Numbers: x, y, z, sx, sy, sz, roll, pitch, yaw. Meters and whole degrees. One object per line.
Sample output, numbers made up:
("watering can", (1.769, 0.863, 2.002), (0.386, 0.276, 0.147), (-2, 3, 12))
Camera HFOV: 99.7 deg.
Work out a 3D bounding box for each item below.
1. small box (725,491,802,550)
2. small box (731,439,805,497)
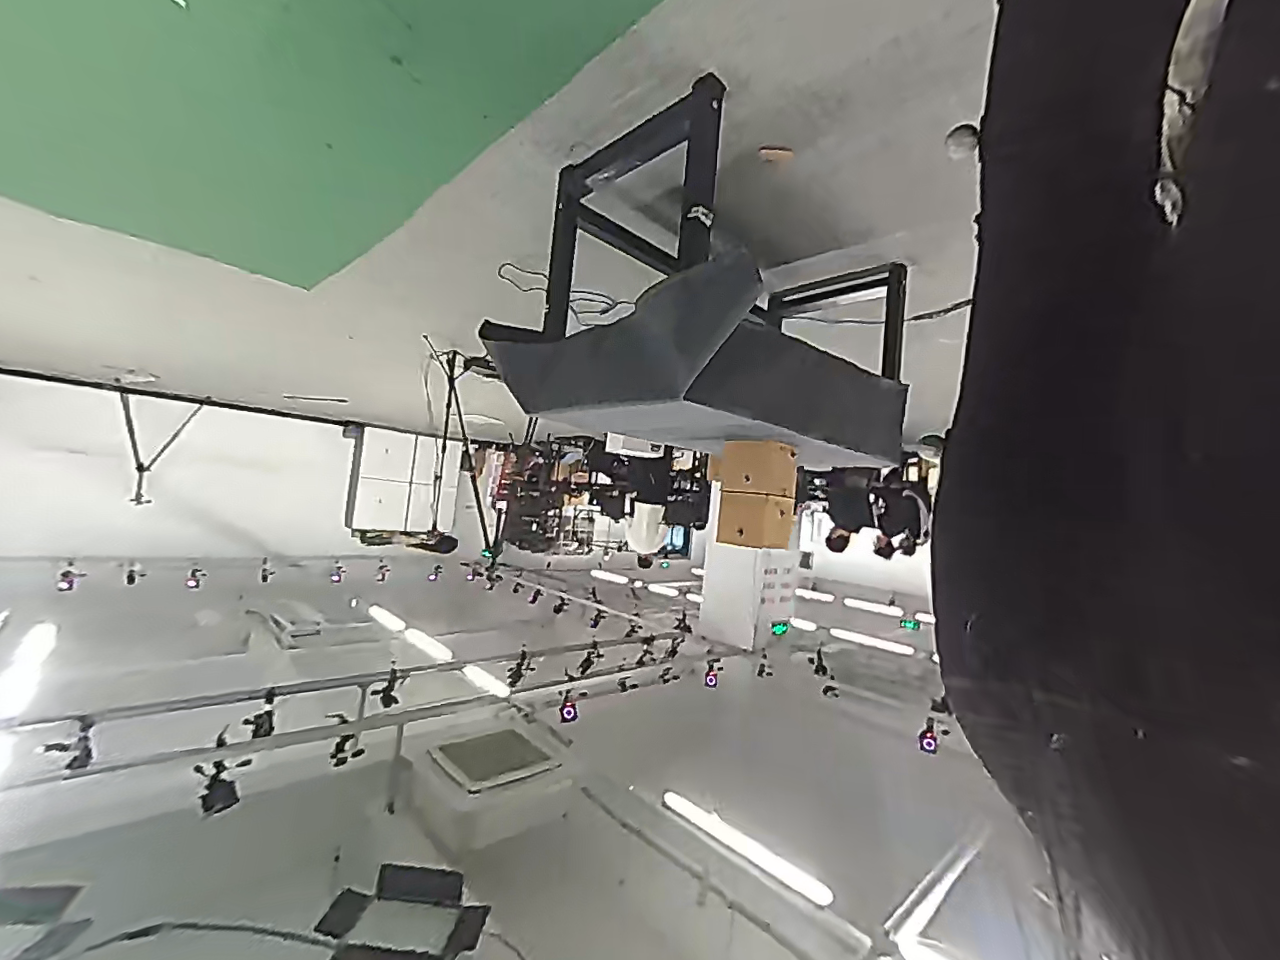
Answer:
("small box", (0.394, 0.124, 1.716), (0.168, 0.176, 0.179), (8, 176, -43))
("small box", (0.411, -0.038, 1.725), (0.168, 0.176, 0.179), (8, 177, -43))
